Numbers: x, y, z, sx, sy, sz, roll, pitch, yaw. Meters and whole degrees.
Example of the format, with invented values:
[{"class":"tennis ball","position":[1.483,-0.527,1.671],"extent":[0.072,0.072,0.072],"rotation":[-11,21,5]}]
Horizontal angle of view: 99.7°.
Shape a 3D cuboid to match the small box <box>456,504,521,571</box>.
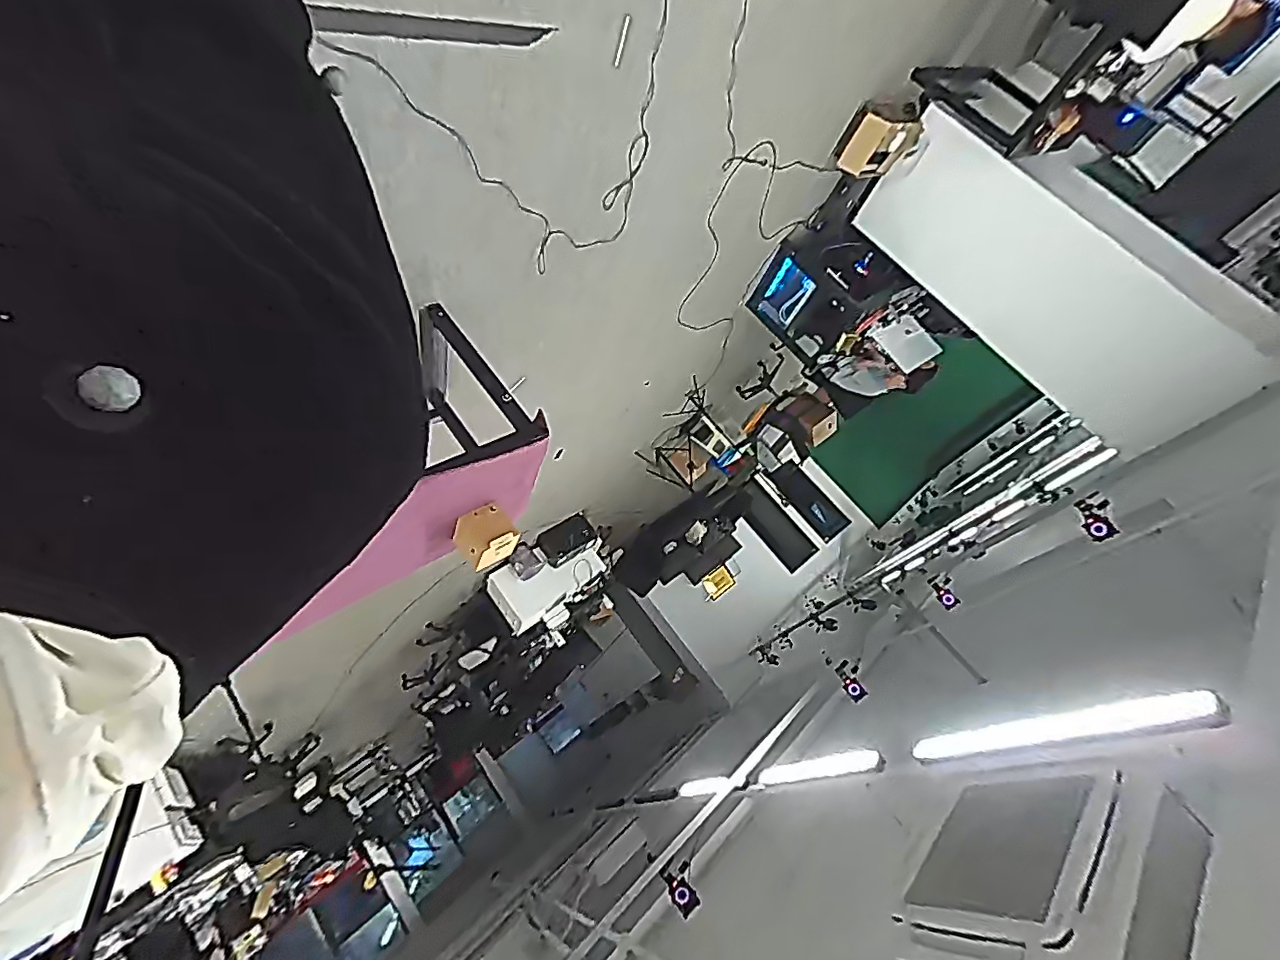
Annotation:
[{"class":"small box","position":[-0.589,0.214,2.088],"extent":[0.168,0.176,0.179],"rotation":[-27,160,-39]}]
